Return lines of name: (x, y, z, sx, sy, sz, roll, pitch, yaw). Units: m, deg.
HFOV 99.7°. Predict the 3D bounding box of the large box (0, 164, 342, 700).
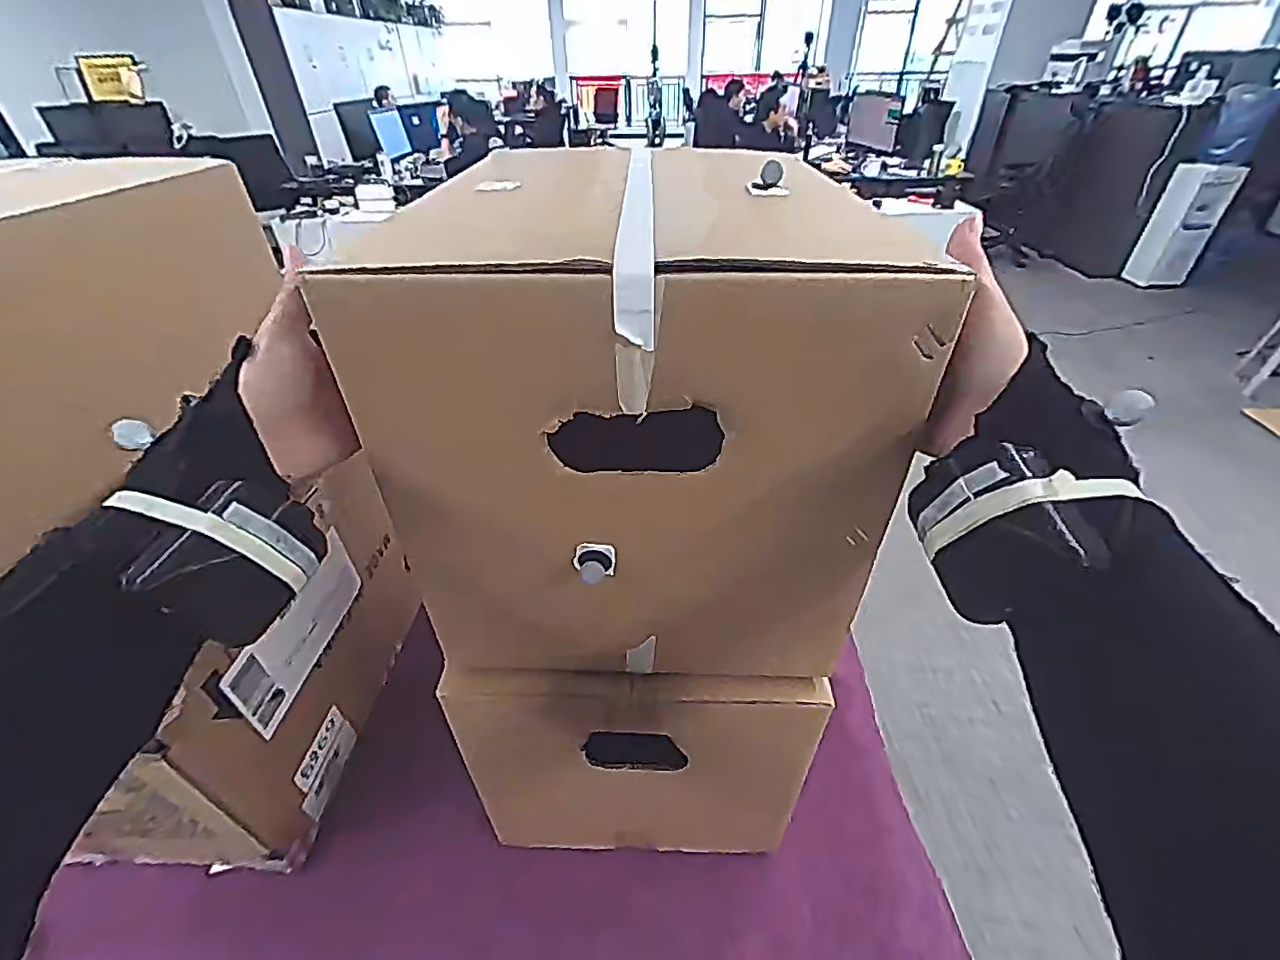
large box: (-0.545, -0.069, 0.479, 0.320, 0.320, 0.408, -2, 38, 2)
